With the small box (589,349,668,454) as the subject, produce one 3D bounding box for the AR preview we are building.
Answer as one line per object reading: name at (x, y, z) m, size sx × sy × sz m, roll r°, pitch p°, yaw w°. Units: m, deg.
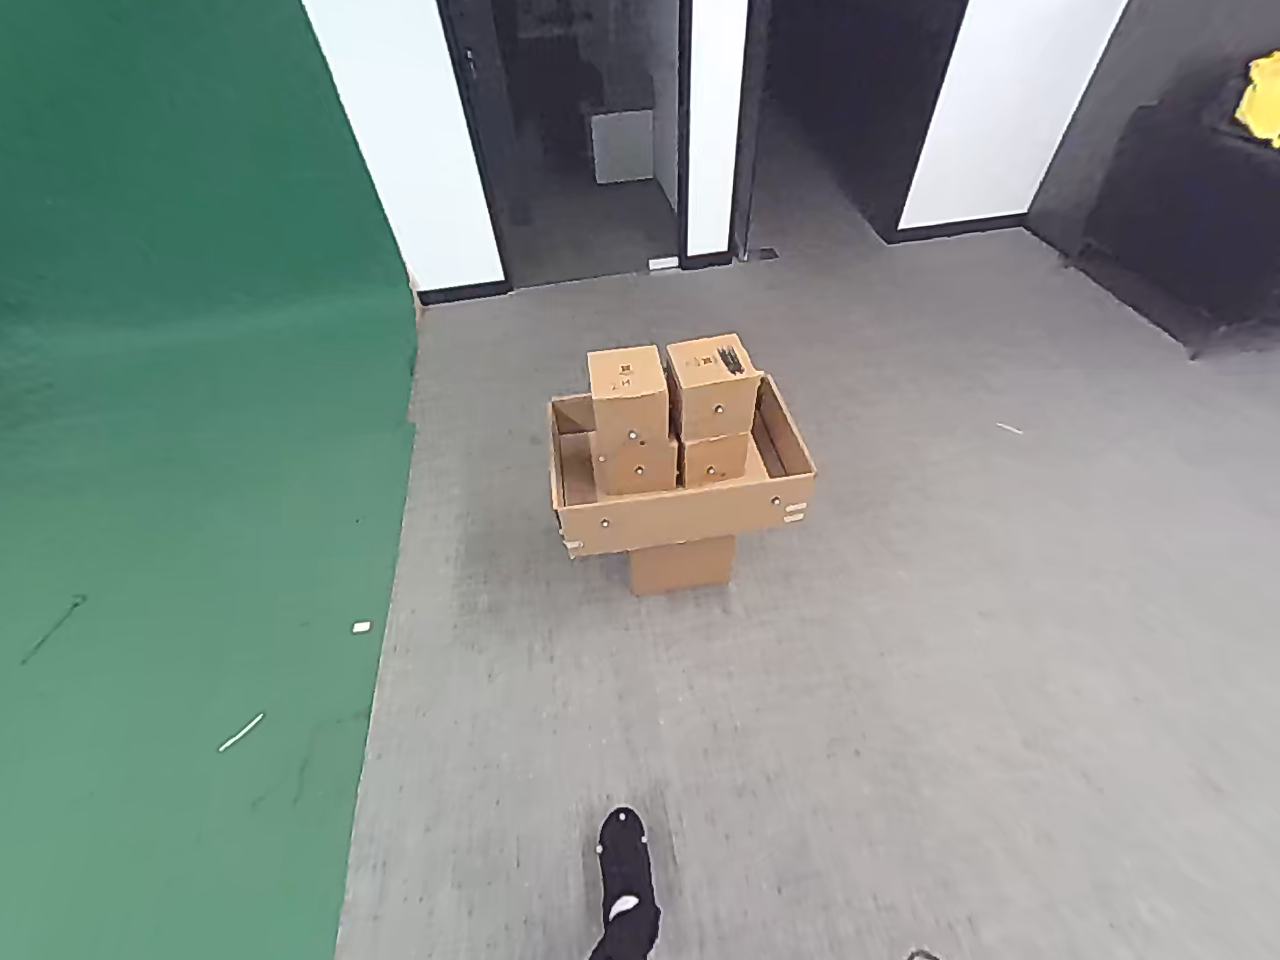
small box at (-0.029, -0.184, 1.273) m, size 0.168 × 0.176 × 0.179 m, roll -7°, pitch 49°, yaw -3°
